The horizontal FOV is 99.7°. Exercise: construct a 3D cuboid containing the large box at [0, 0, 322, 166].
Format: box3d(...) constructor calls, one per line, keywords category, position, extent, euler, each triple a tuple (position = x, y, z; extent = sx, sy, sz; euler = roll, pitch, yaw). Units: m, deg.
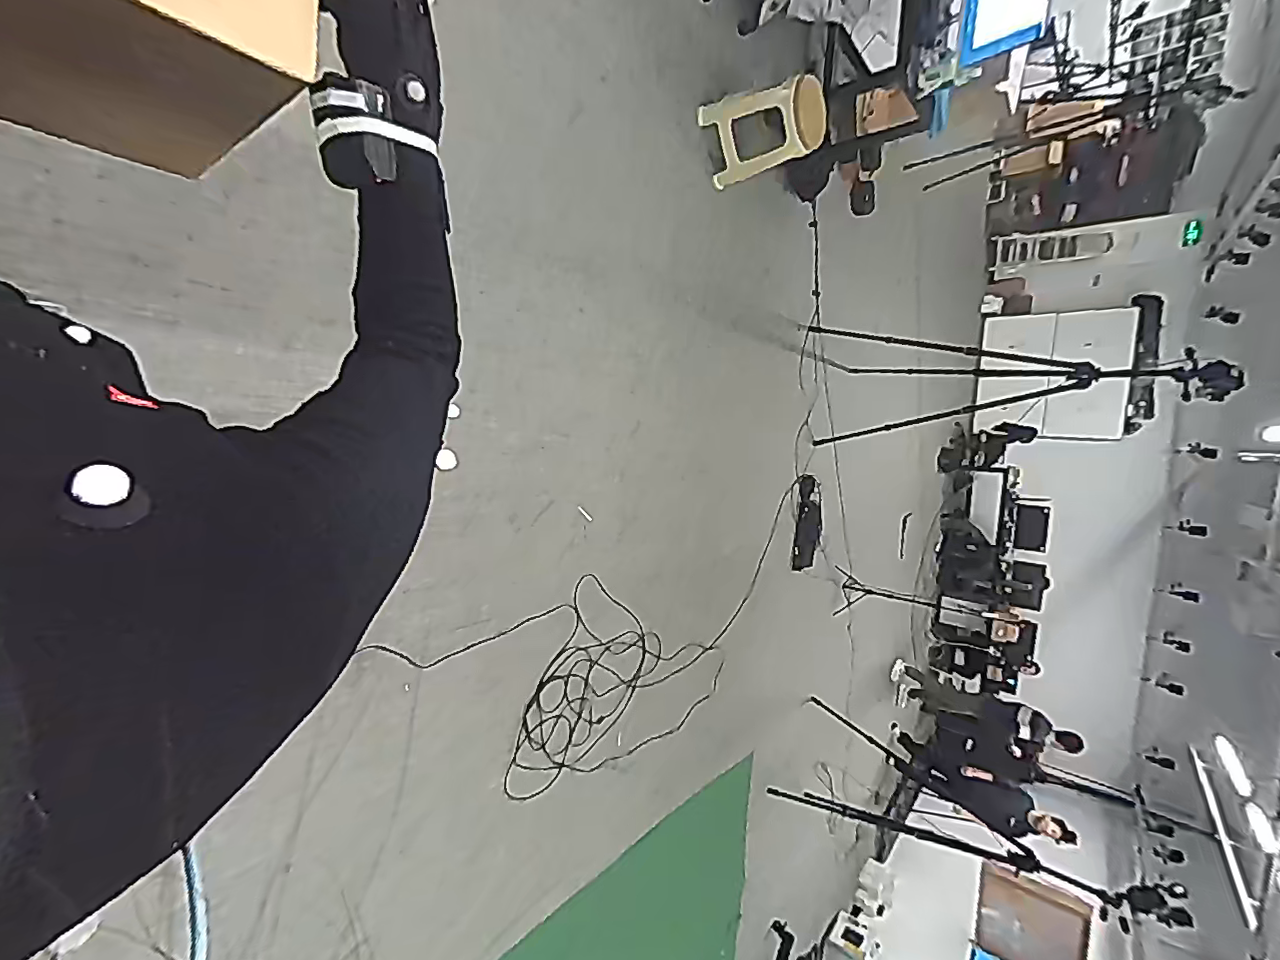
box3d(category="large box", position=(-0.451, -0.441, 0.297), extent=(0.408, 0.320, 0.320), euler=(-3, 101, -50))
